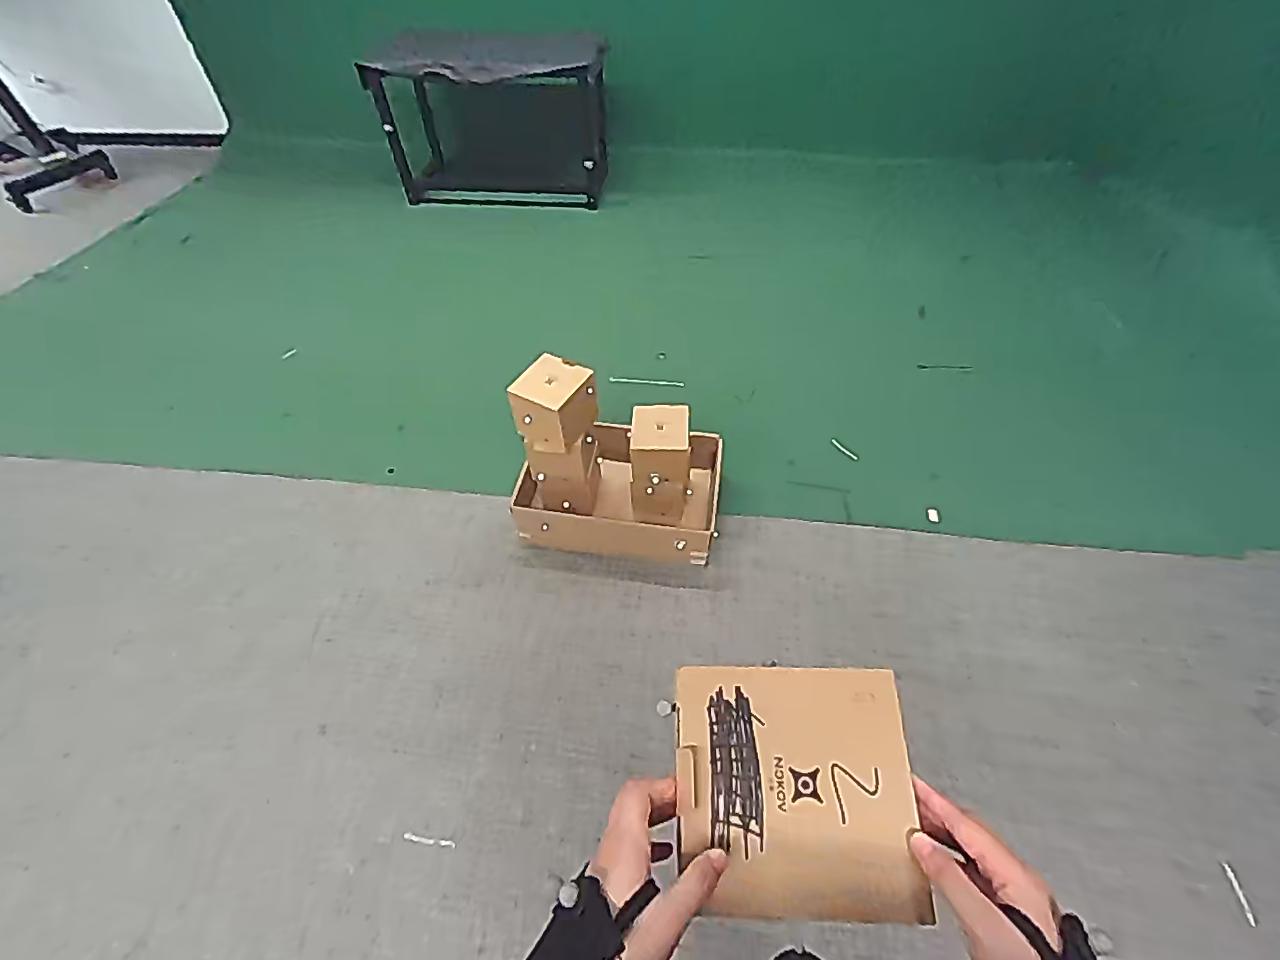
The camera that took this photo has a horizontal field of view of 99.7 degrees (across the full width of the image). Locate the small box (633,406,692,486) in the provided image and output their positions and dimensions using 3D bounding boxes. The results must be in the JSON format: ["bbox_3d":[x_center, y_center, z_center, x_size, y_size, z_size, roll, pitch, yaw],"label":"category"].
[{"bbox_3d":[0.069,-0.100,1.604,0.168,0.176,0.179,0,53,4],"label":"small box"}]

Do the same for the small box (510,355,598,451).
[{"bbox_3d":[-0.226,-0.209,1.484,0.168,0.176,0.179,24,54,19],"label":"small box"}]

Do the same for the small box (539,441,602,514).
[{"bbox_3d":[-0.217,-0.015,1.748,0.168,0.176,0.179,5,51,5],"label":"small box"}]

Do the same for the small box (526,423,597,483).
[{"bbox_3d":[-0.226,-0.111,1.615,0.168,0.176,0.179,6,50,5],"label":"small box"}]

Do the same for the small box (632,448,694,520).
[{"bbox_3d":[0.074,0.002,1.732,0.168,0.176,0.179,9,52,10],"label":"small box"}]
